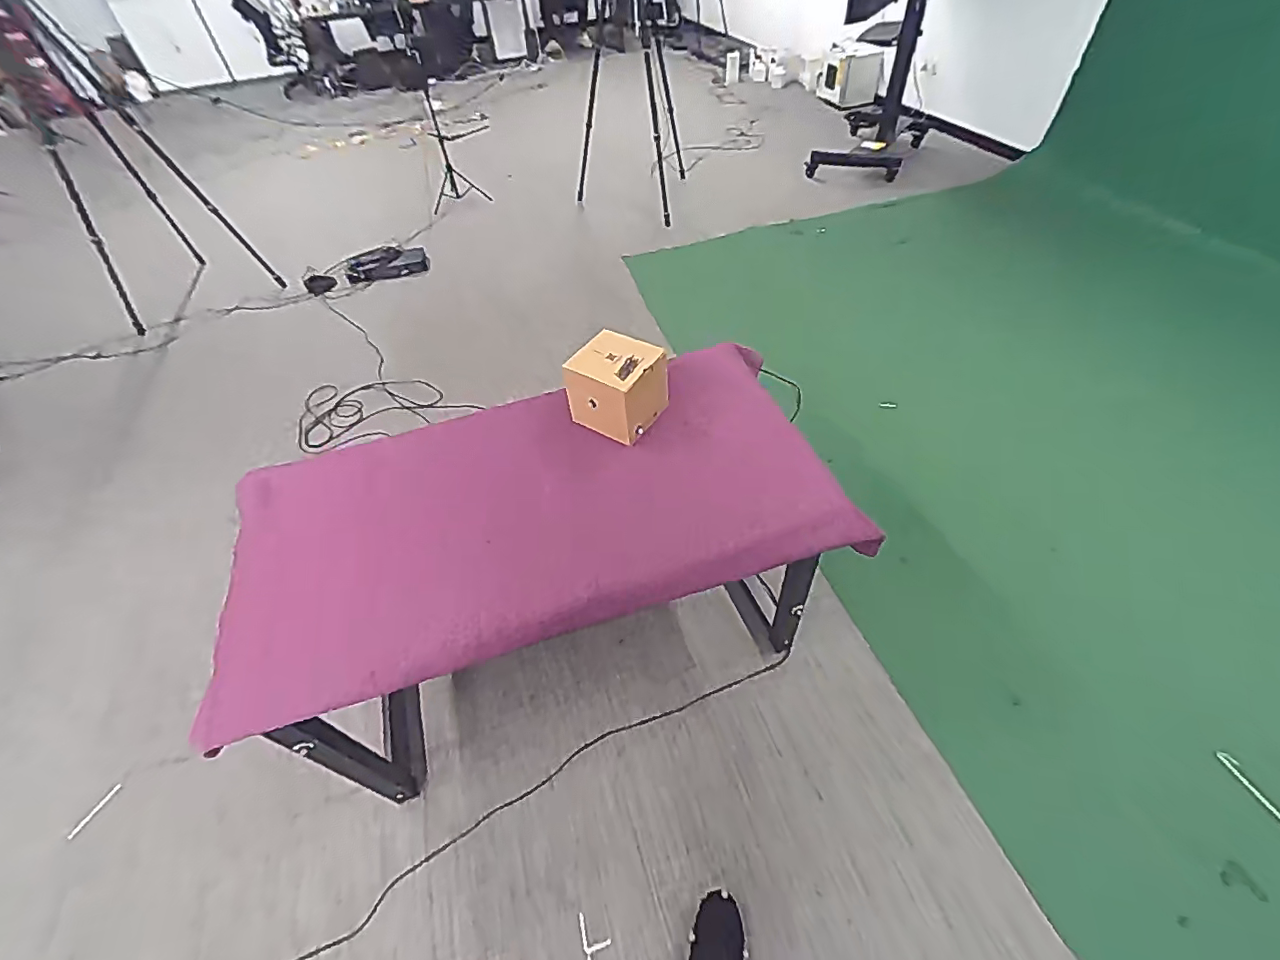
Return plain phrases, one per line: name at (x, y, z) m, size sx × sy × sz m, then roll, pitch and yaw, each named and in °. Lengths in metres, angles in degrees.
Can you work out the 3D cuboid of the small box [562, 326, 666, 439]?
small box at (-0.051, -0.219, 1.244) m, size 0.179 × 0.176 × 0.168 m, roll 26°, pitch 56°, yaw 24°
